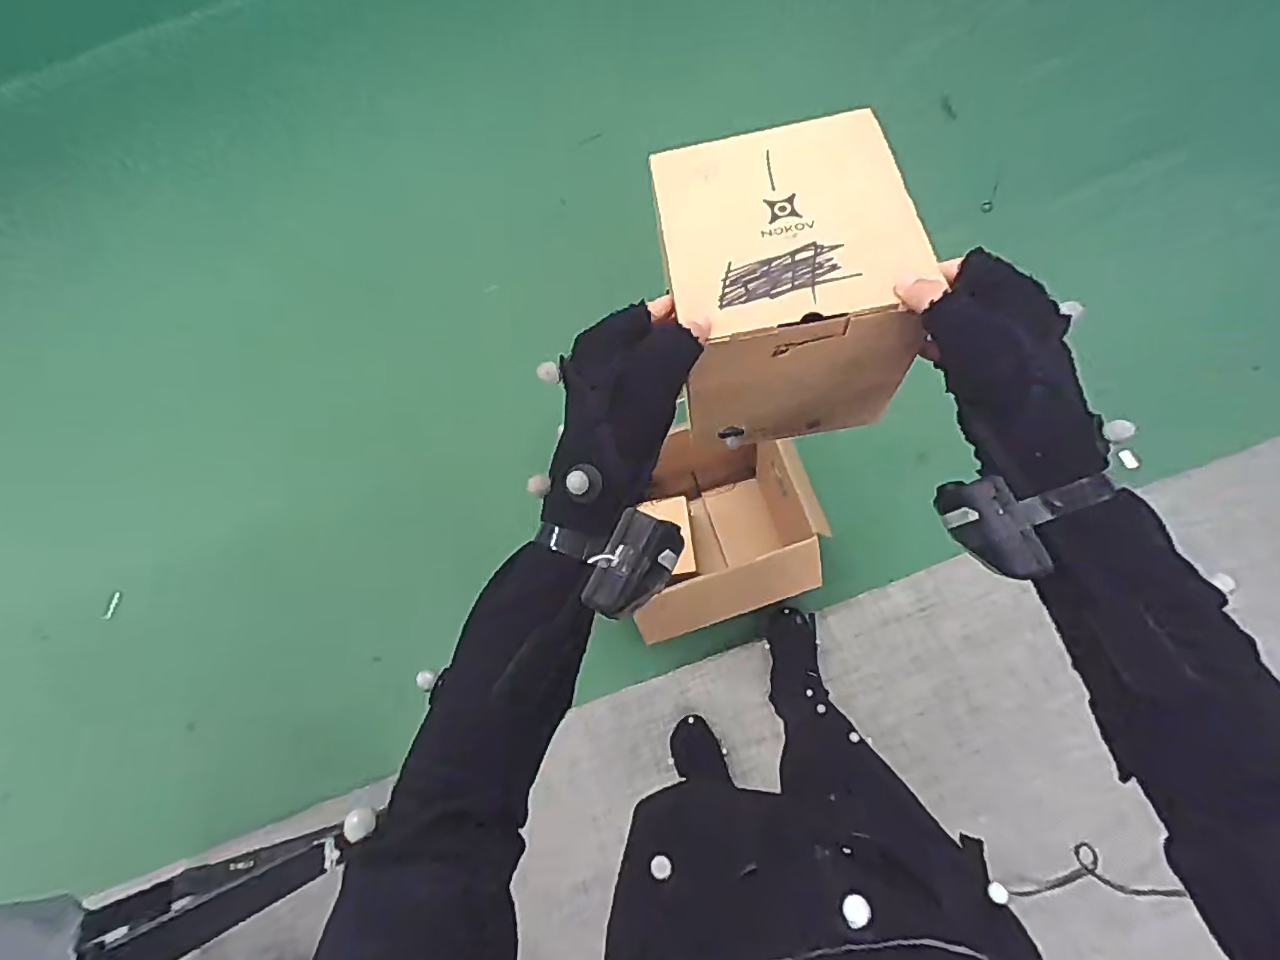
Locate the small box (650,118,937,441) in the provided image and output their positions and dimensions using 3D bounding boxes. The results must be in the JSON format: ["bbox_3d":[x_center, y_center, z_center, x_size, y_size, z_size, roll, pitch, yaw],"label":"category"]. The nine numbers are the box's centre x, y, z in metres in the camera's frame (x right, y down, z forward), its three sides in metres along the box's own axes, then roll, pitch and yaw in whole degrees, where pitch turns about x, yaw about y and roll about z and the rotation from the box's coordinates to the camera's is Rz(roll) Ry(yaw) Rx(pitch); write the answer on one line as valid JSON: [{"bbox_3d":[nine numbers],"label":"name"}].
[{"bbox_3d":[0.108,-0.144,0.444,0.168,0.176,0.179,-9,67,5],"label":"small box"}]
